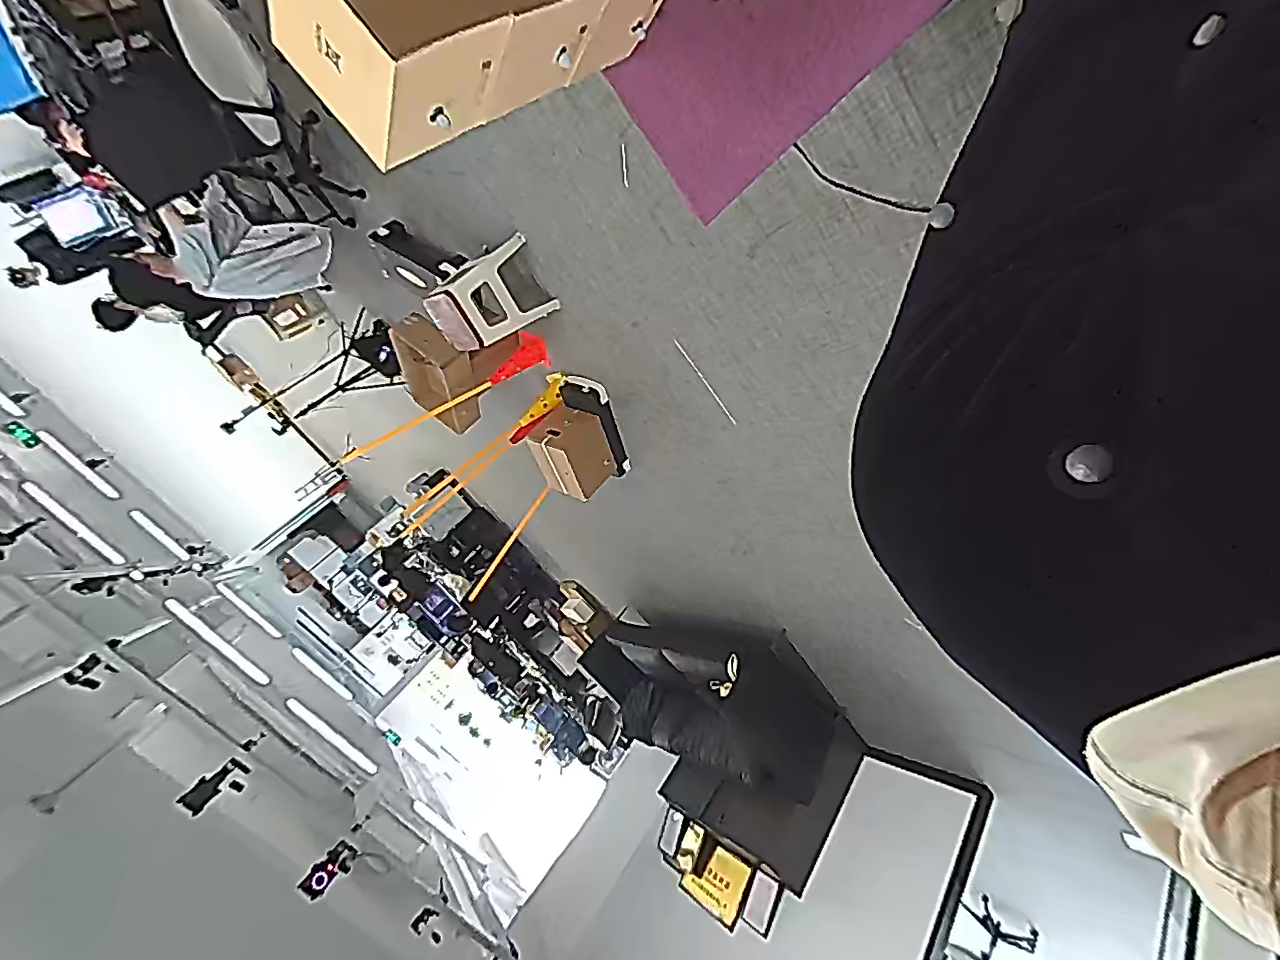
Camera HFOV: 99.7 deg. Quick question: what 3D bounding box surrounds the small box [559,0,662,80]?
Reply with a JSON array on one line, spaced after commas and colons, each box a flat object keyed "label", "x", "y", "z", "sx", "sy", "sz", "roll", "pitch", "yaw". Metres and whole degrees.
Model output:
[{"label": "small box", "x": -0.077, "y": -0.717, "z": 0.751, "sx": 0.179, "sy": 0.176, "sz": 0.168, "roll": 49, "pitch": 152, "yaw": -14}]

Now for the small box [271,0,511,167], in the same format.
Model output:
[{"label": "small box", "x": -0.273, "y": -0.505, "z": 0.601, "sx": 0.179, "sy": 0.176, "sz": 0.168, "roll": 50, "pitch": 153, "yaw": -13}]

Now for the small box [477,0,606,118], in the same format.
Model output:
[{"label": "small box", "x": -0.175, "y": -0.611, "z": 0.674, "sx": 0.179, "sy": 0.176, "sz": 0.168, "roll": 49, "pitch": 153, "yaw": -13}]
